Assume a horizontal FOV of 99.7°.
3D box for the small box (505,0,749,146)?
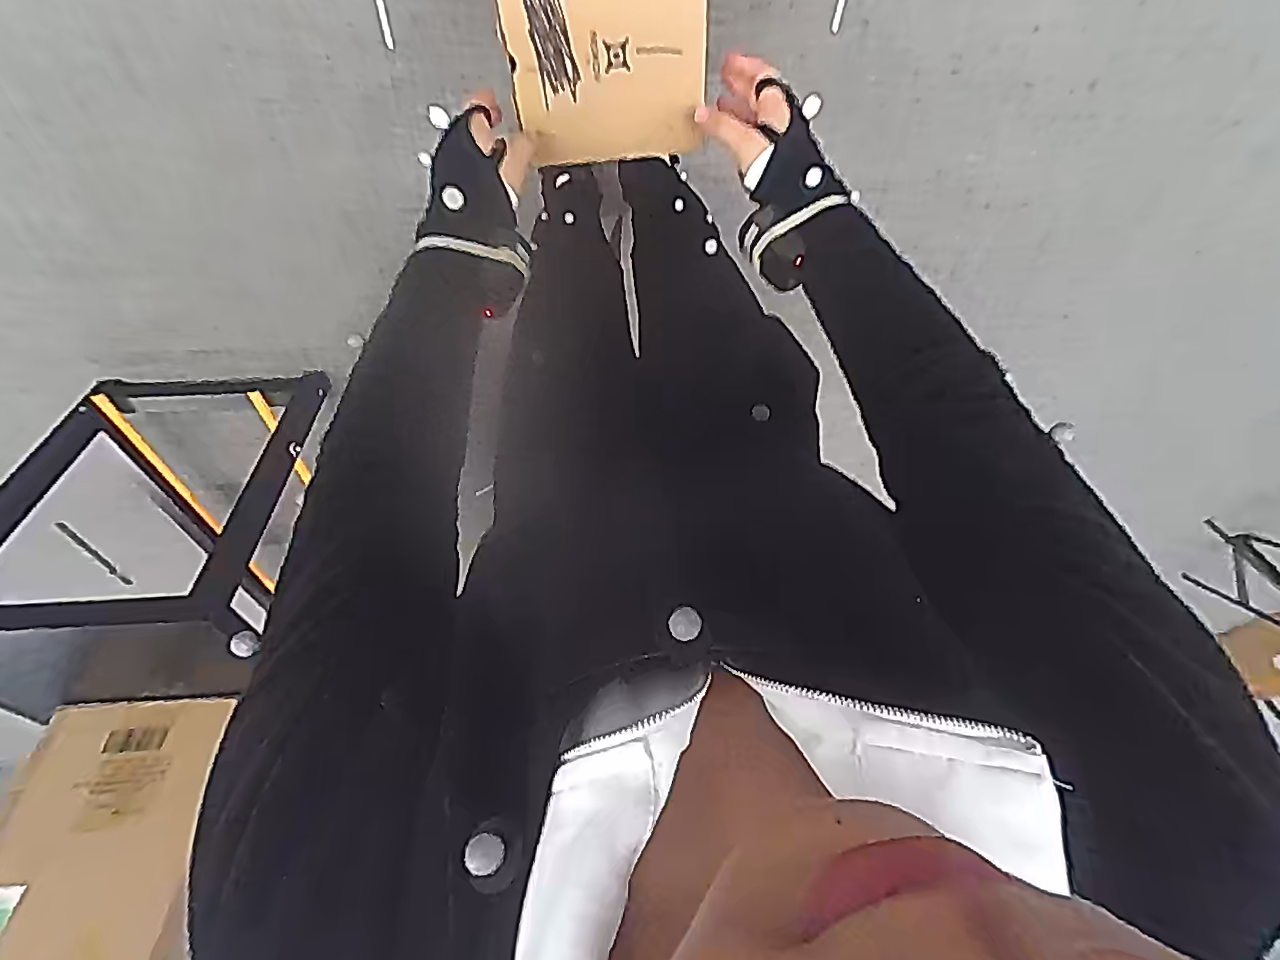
[{"bbox_3d":[-0.014,-0.394,0.437,0.179,0.176,0.168,-7,139,-1],"label":"small box"}]
